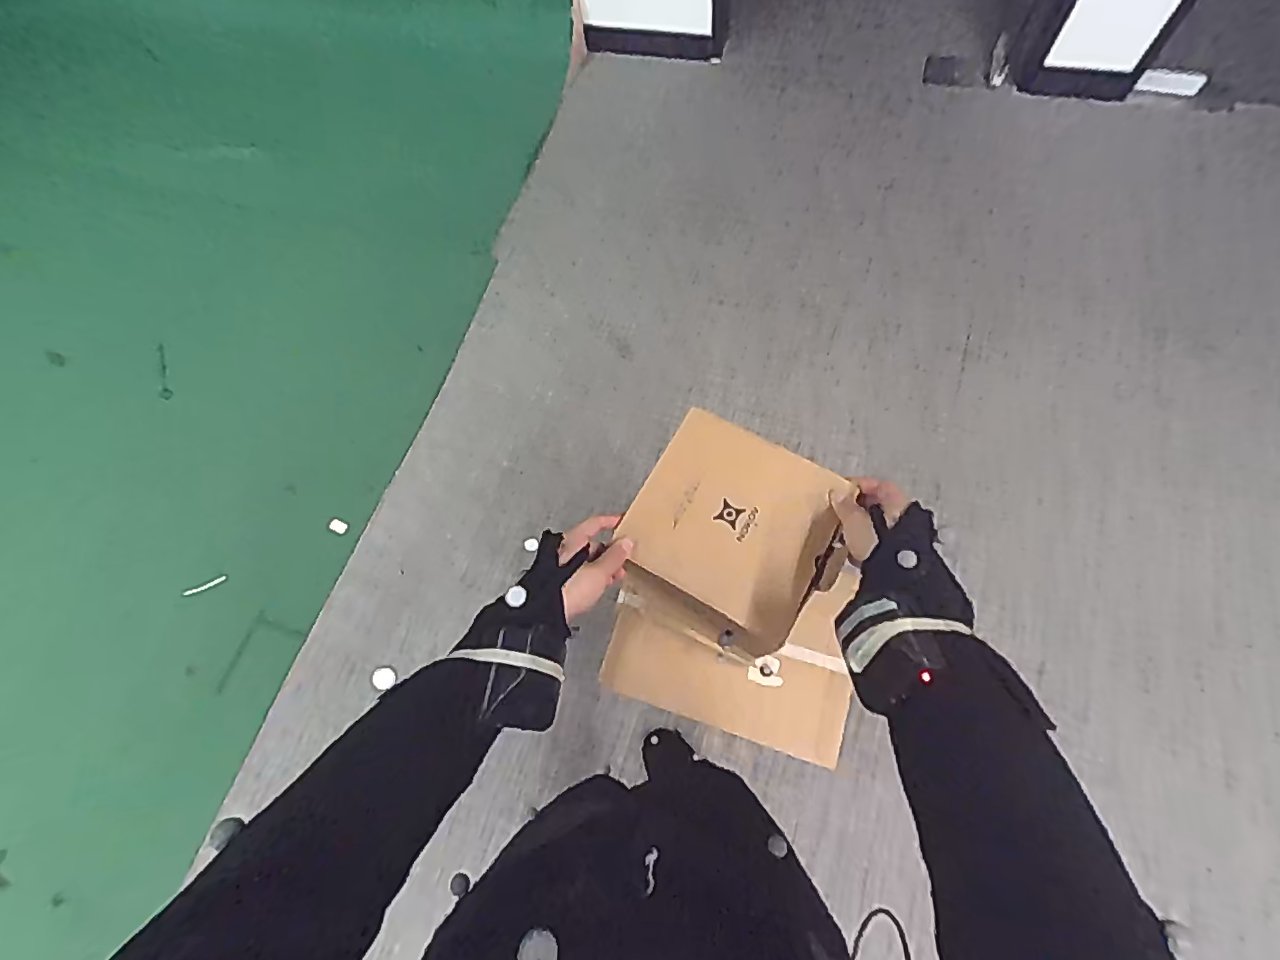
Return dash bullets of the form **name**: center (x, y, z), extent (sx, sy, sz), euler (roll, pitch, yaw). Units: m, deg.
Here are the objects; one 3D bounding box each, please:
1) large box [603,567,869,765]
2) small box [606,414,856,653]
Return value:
- **large box**: center (0.179, 0.317, 1.067), extent (0.408, 0.320, 0.320), euler (15, 73, 11)
- **small box**: center (0.090, 0.066, 0.563), extent (0.179, 0.176, 0.168), euler (27, 72, 15)
